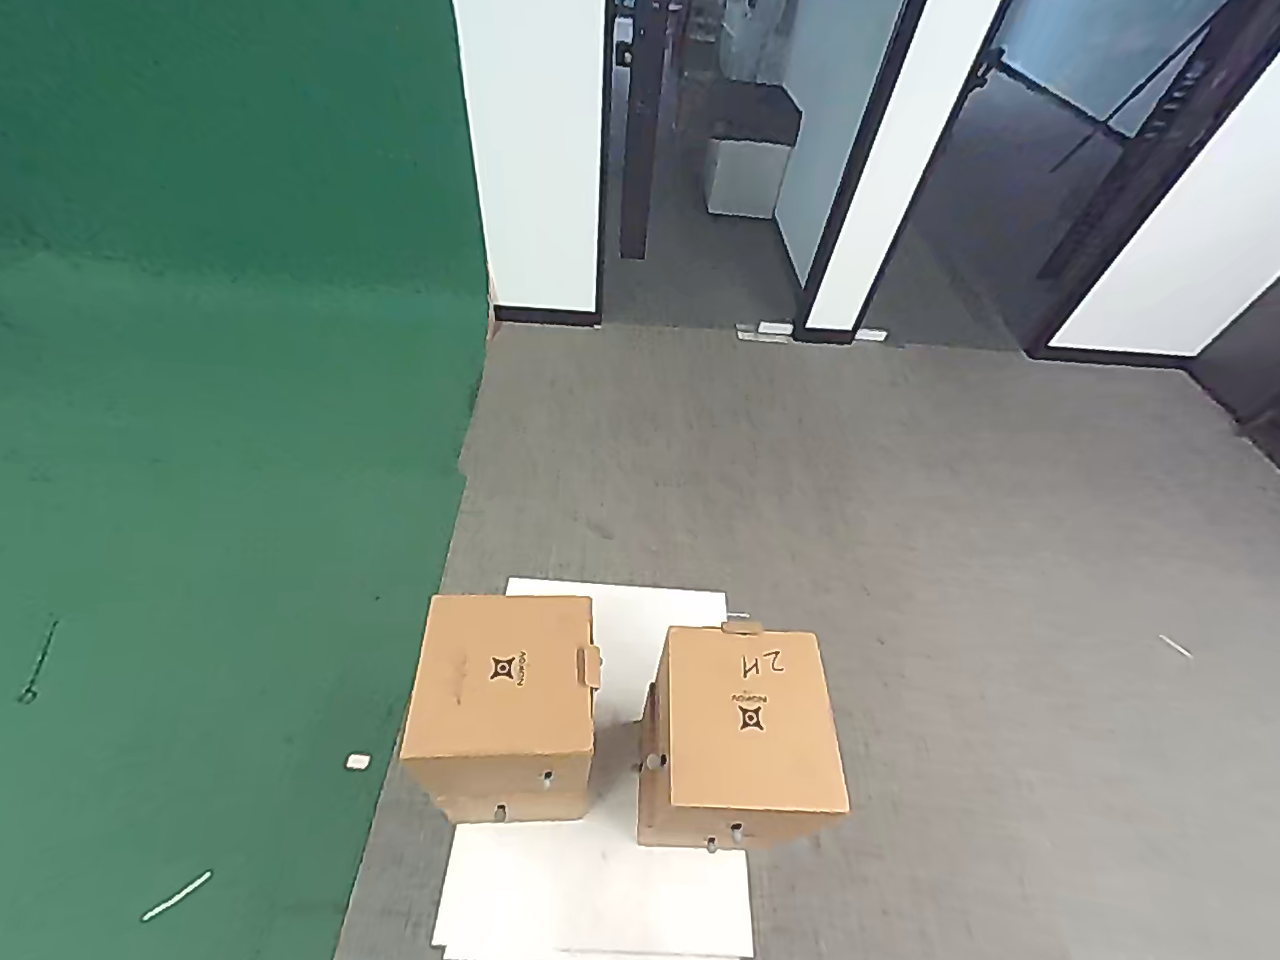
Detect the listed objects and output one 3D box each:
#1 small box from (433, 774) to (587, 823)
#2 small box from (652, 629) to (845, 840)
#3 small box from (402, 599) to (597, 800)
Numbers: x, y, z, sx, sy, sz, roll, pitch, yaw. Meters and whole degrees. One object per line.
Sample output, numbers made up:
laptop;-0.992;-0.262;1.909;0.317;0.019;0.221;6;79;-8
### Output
small box;-0.160;0.355;0.730;0.179;0.176;0.168;3;50;-7
small box;0.104;0.287;0.602;0.168;0.176;0.179;4;49;-3
small box;-0.142;0.247;0.607;0.179;0.176;0.168;1;49;-7
